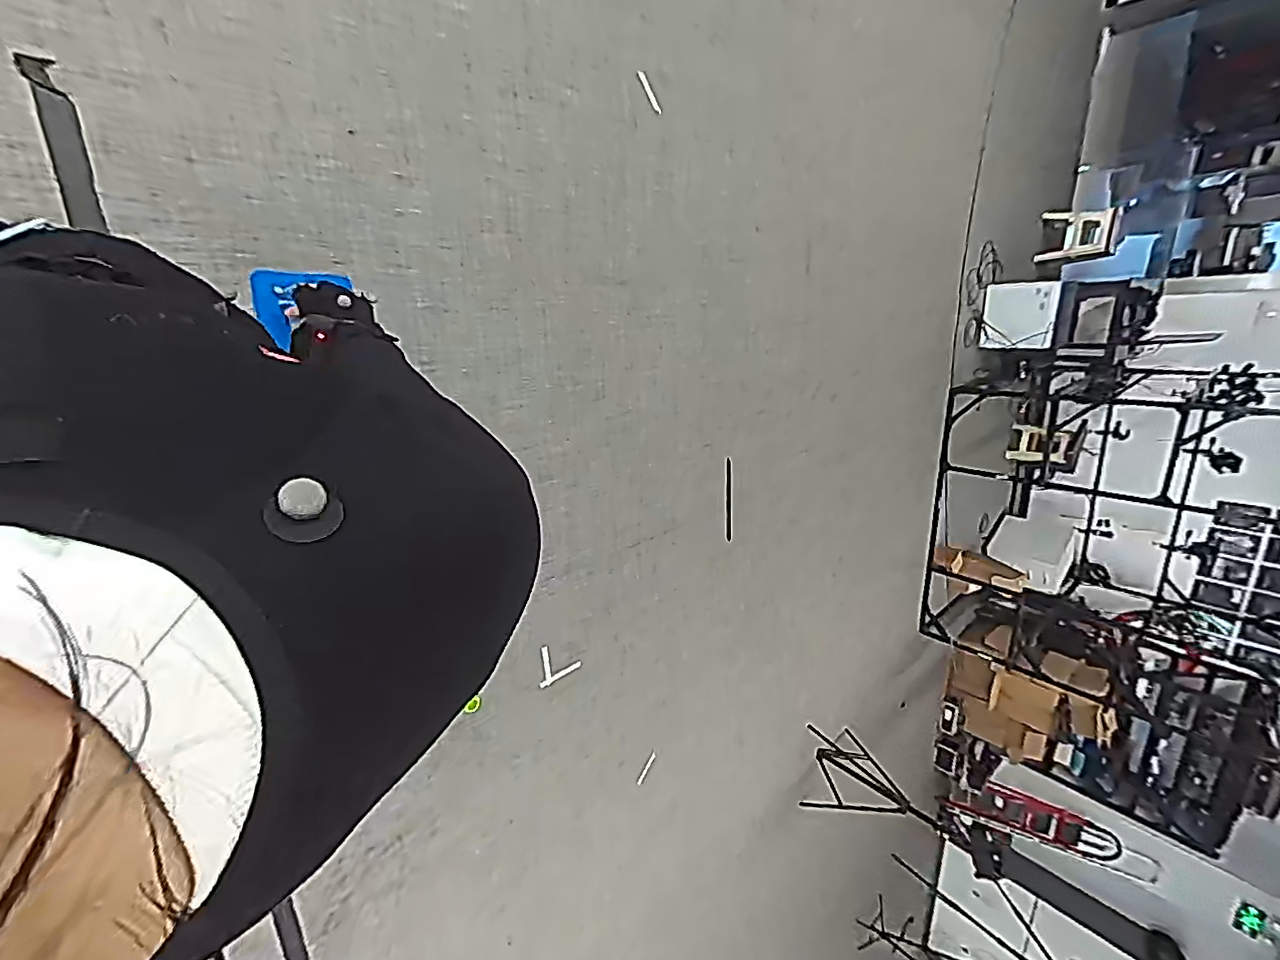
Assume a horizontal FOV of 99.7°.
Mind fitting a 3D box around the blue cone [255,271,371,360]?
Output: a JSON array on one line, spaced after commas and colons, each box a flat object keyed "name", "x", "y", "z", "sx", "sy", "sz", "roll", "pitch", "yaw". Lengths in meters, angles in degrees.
[{"name": "blue cone", "x": -0.640, "y": -0.339, "z": 1.108, "sx": 0.192, "sy": 0.380, "sz": 0.193, "roll": -11, "pitch": 109, "yaw": -41}]

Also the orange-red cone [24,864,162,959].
[{"name": "orange-red cone", "x": -1.068, "y": 0.992, "z": 1.051, "sx": 0.199, "sy": 0.360, "sz": 0.198, "roll": -9, "pitch": 106, "yaw": -40}]
